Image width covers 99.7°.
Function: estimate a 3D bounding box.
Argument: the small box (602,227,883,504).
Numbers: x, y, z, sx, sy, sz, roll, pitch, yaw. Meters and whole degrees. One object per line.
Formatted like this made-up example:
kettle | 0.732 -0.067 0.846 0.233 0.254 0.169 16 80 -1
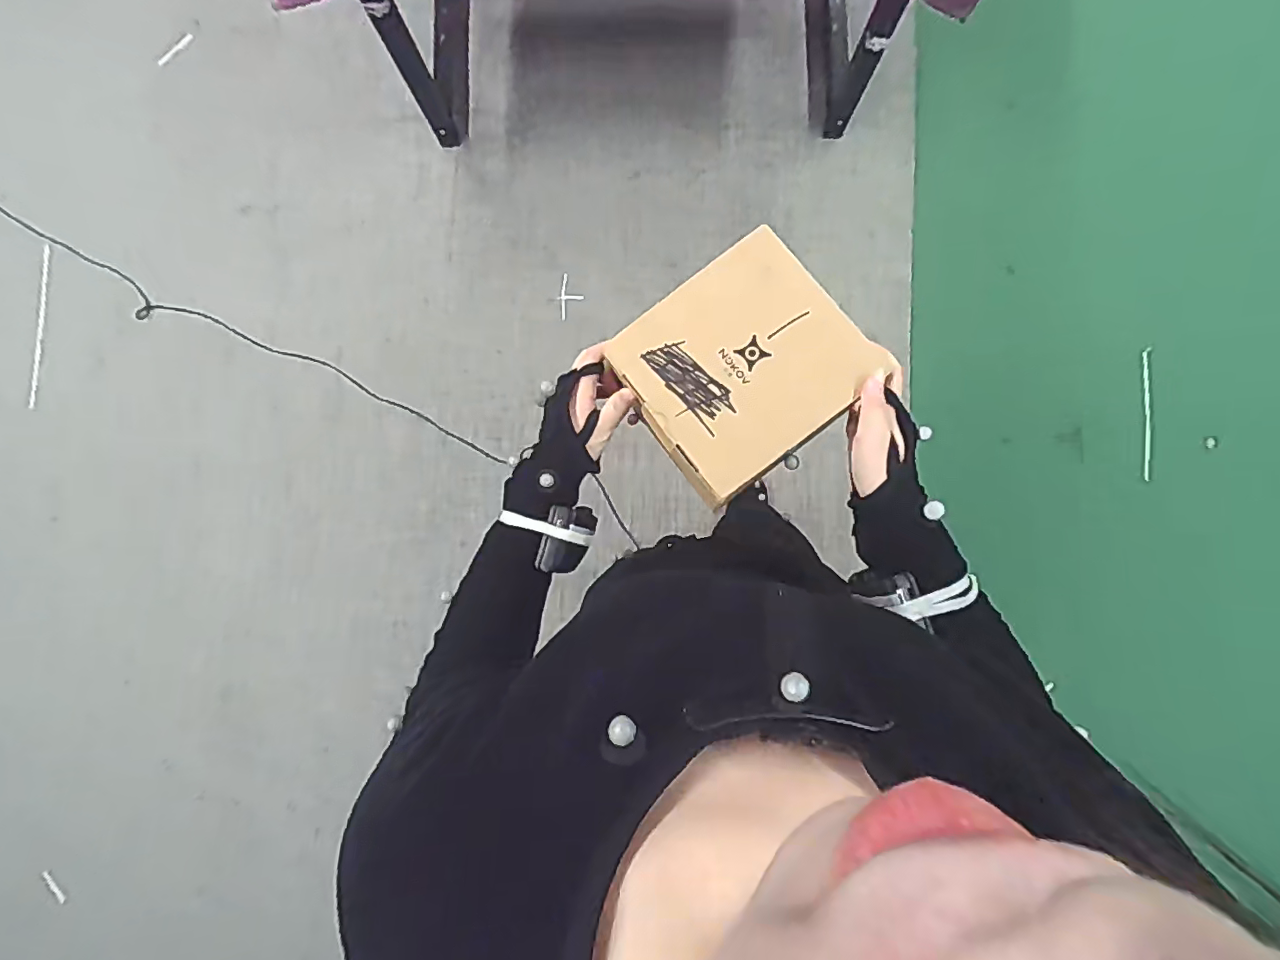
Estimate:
small box | 0.090 -0.091 0.525 0.179 0.176 0.168 -37 82 0
